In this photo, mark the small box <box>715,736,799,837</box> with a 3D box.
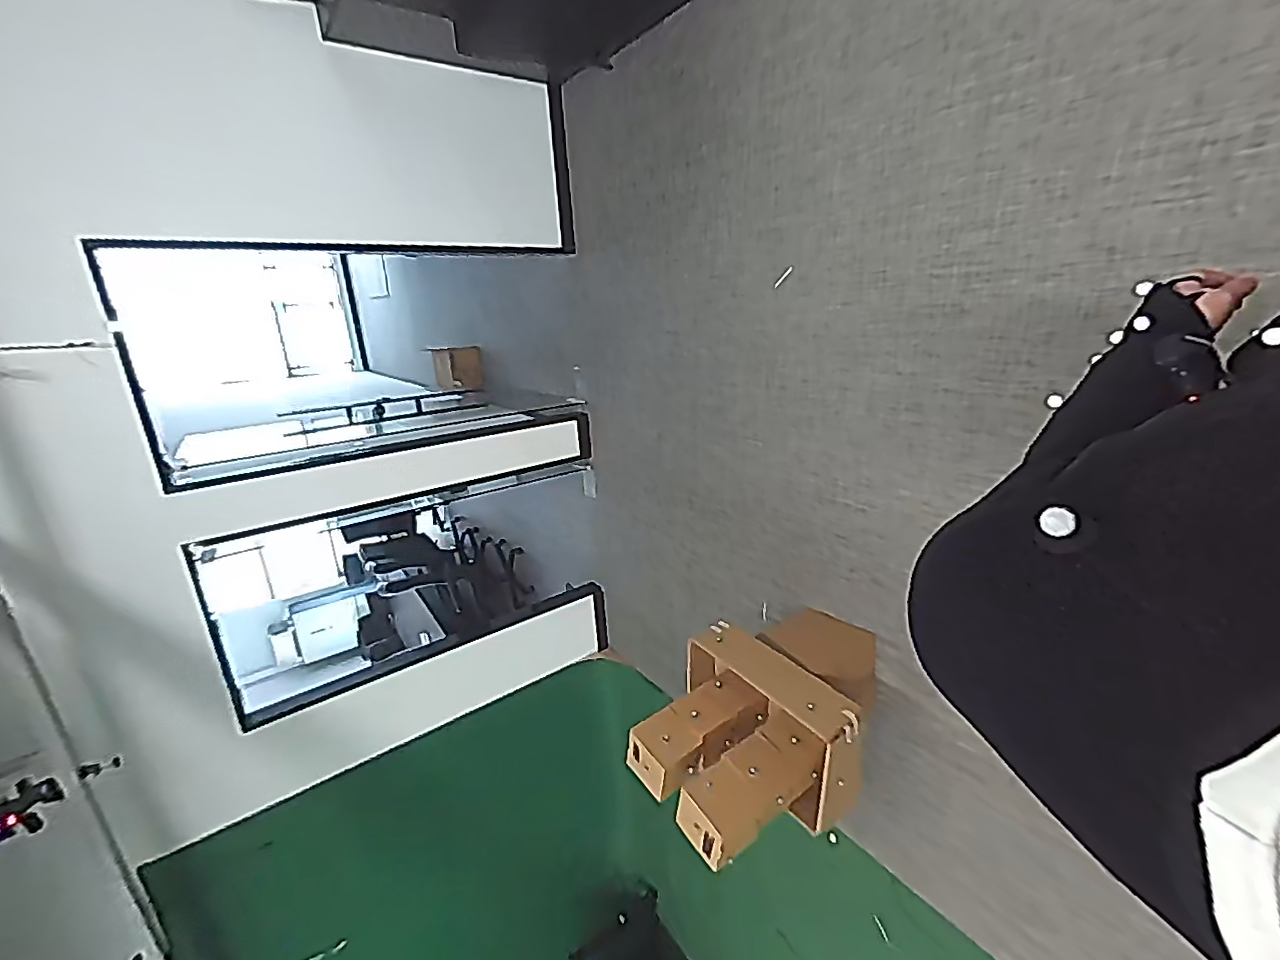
[{"bbox_3d":[0.361,0.933,1.660,0.179,0.176,0.168,36,129,44],"label":"small box"}]

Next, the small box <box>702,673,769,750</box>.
[{"bbox_3d":[0.339,0.822,1.940,0.179,0.176,0.168,21,120,49],"label":"small box"}]

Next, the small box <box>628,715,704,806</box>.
[{"bbox_3d":[0.082,0.898,1.755,0.179,0.176,0.168,31,126,43],"label":"small box"}]

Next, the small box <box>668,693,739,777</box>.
[{"bbox_3d":[0.213,0.859,1.846,0.179,0.176,0.168,20,118,48],"label":"small box"}]
